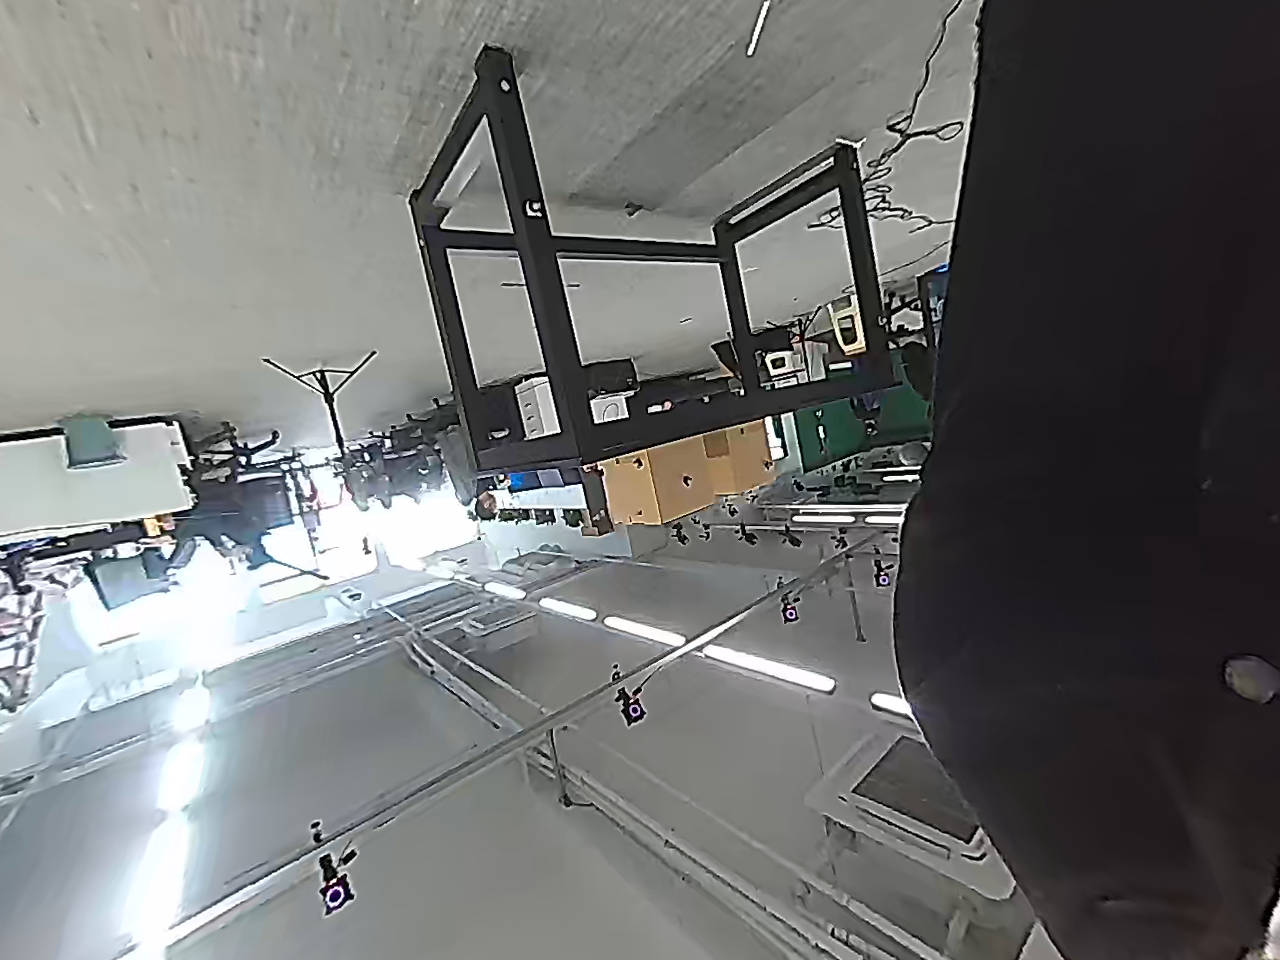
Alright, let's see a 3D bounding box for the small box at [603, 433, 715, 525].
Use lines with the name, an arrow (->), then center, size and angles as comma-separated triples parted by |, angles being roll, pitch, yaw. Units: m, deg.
small box -> 0.039, -0.003, 1.228 | 0.179, 0.176, 0.168 | -18, -171, -39
